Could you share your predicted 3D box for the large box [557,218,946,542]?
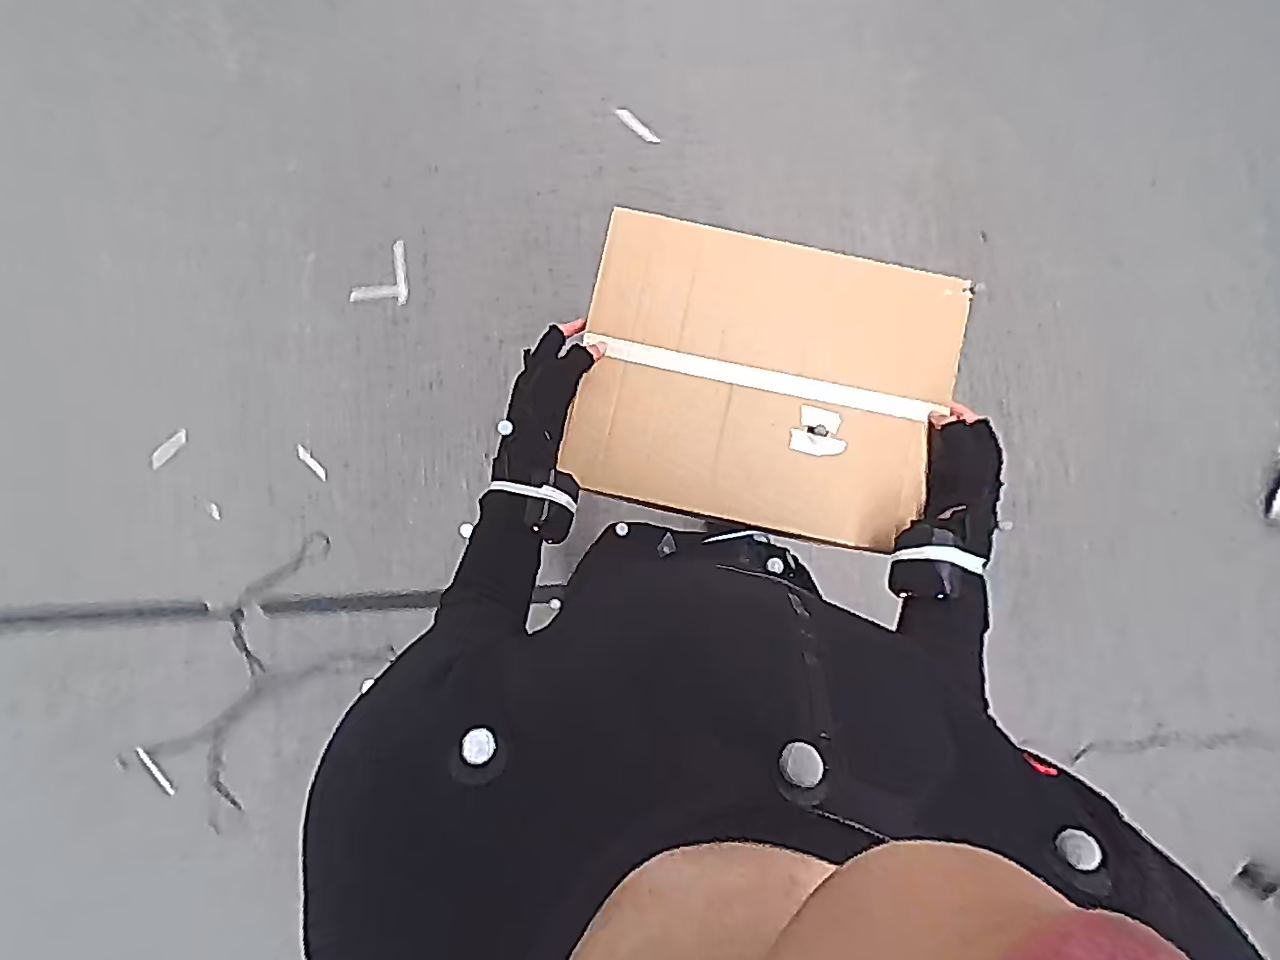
[{"bbox_3d":[0.124,-0.107,0.753,0.408,0.320,0.320,11,88,0],"label":"large box"}]
